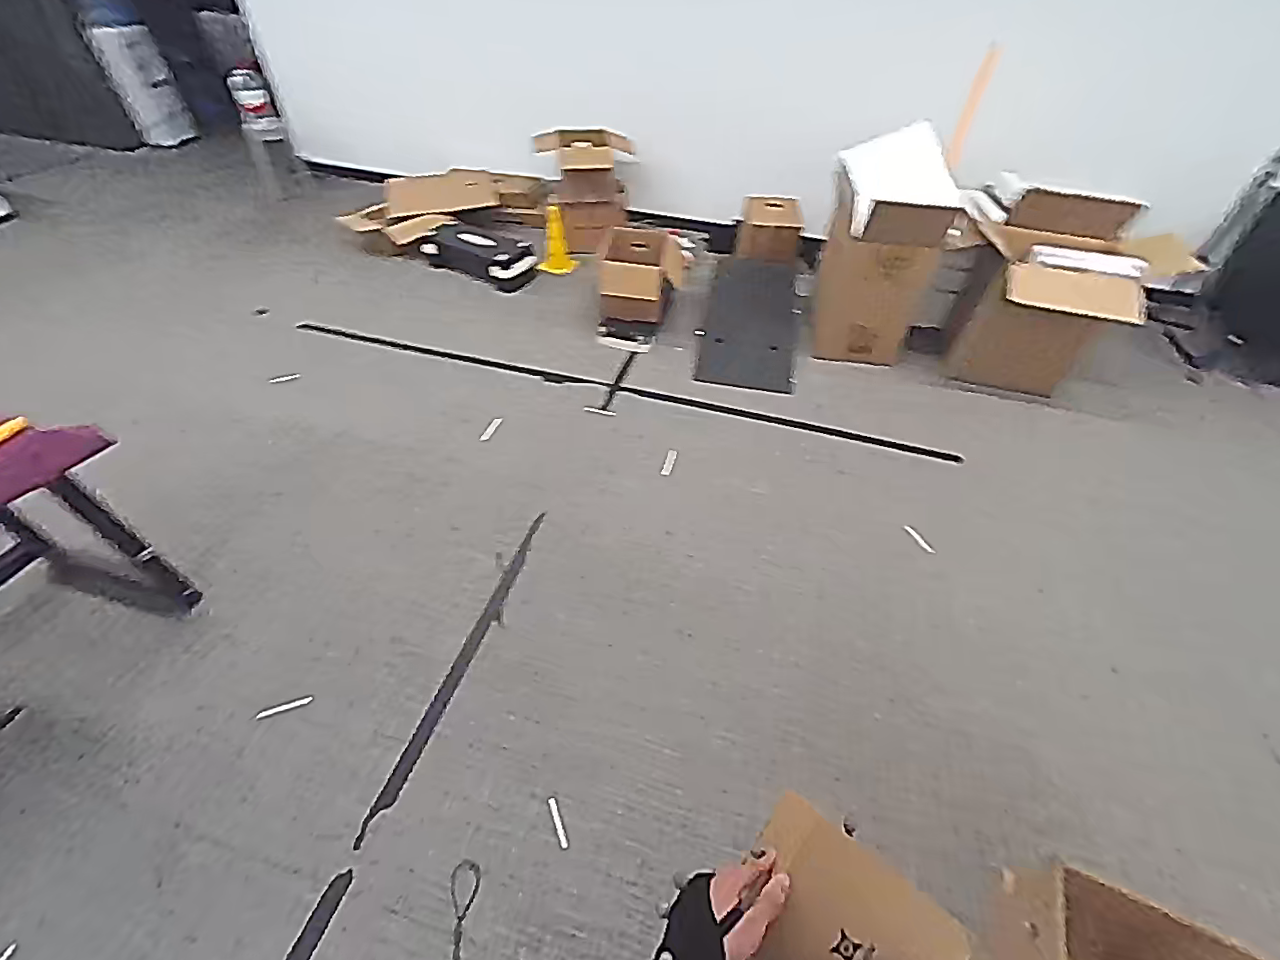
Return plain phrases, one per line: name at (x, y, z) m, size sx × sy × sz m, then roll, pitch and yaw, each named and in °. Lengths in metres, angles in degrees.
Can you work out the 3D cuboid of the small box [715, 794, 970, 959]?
small box at (0.196, 0.468, 0.579) m, size 0.179 × 0.176 × 0.168 m, roll 34°, pitch 74°, yaw 15°
